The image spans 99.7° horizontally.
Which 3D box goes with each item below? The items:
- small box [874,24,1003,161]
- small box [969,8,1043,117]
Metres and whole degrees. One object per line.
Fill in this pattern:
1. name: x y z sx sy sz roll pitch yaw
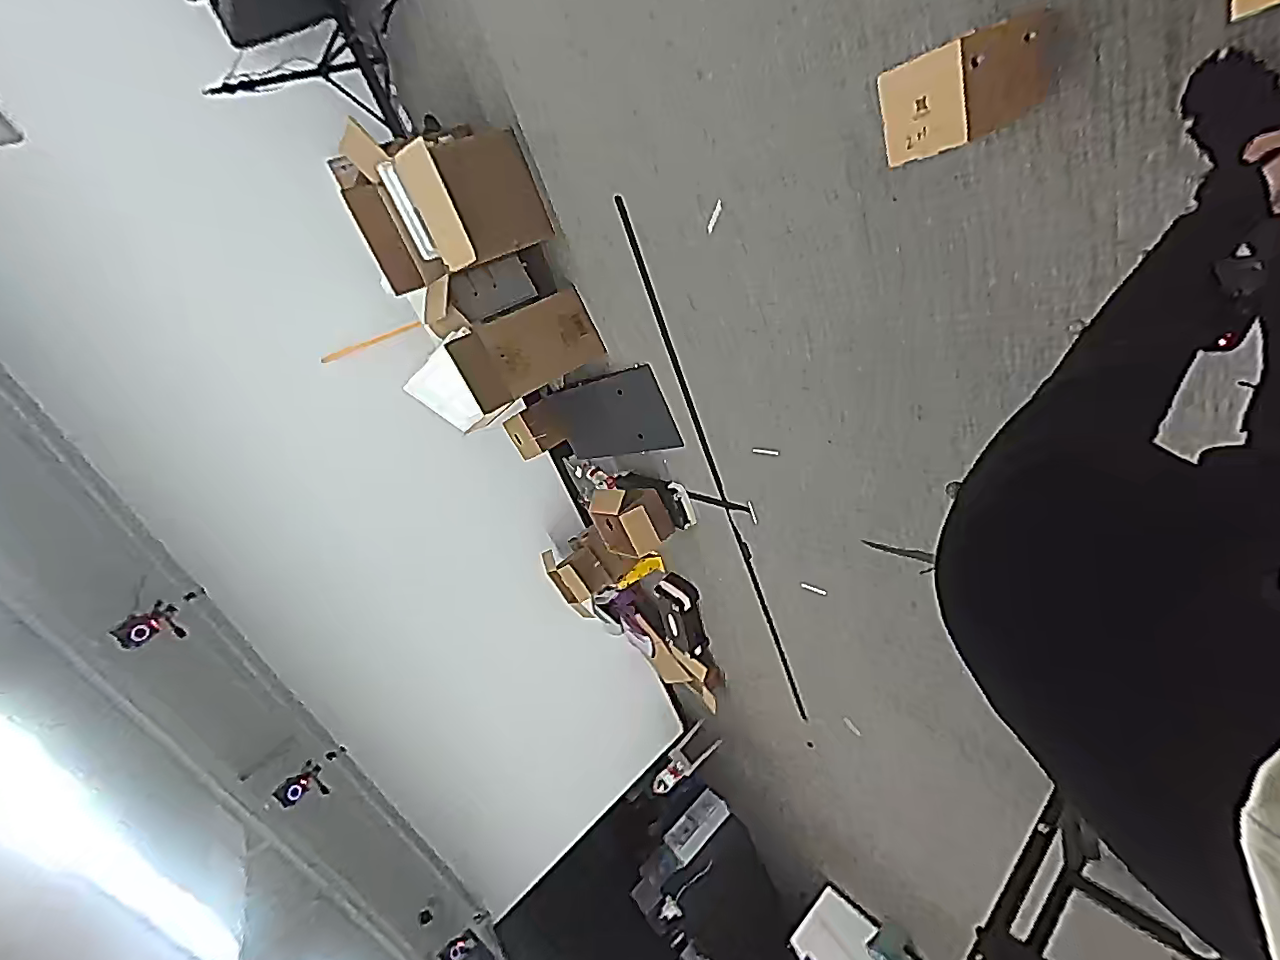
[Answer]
1. small box: 0.603 -0.780 1.089 0.168 0.176 0.179 18 136 54
2. small box: 0.728 -0.865 1.152 0.168 0.176 0.179 19 136 53
